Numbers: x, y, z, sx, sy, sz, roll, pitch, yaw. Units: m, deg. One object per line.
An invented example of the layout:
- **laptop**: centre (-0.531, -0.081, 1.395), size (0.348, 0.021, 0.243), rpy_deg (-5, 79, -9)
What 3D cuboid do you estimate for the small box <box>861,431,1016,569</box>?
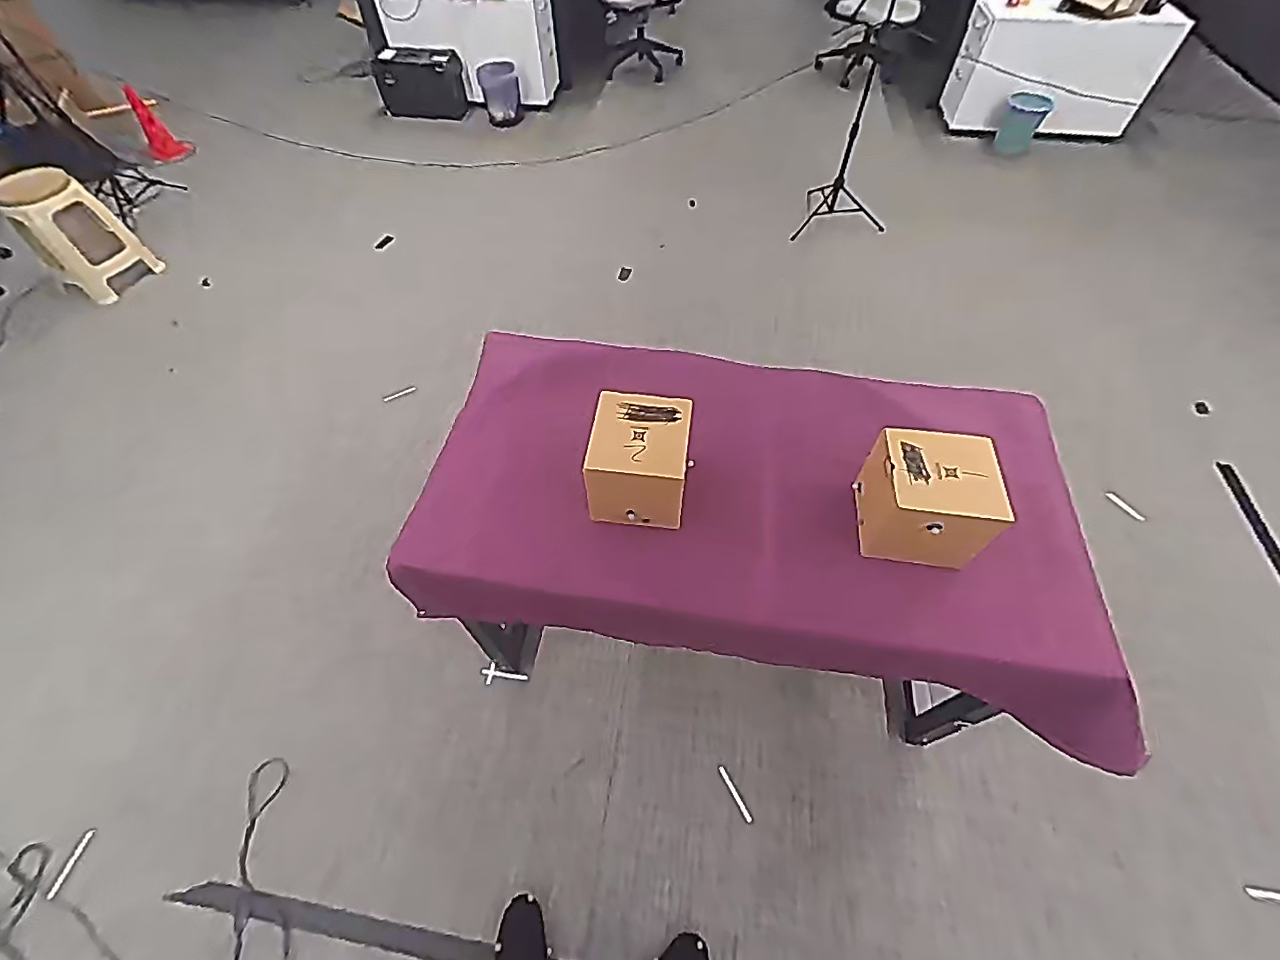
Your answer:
- **small box**: centre (0.491, 0.038, 0.926), size (0.179, 0.176, 0.168), rpy_deg (7, 55, 5)
